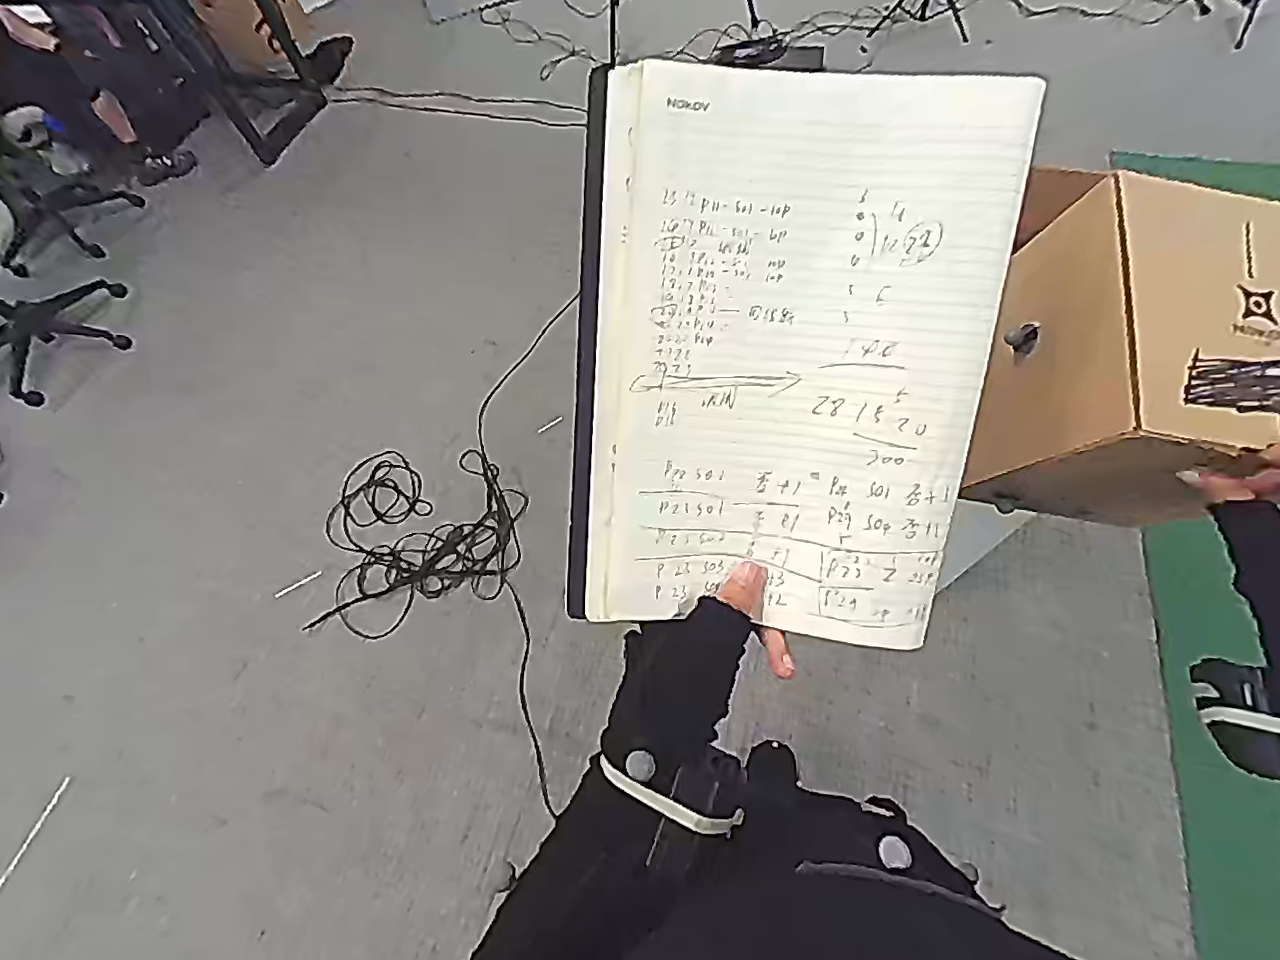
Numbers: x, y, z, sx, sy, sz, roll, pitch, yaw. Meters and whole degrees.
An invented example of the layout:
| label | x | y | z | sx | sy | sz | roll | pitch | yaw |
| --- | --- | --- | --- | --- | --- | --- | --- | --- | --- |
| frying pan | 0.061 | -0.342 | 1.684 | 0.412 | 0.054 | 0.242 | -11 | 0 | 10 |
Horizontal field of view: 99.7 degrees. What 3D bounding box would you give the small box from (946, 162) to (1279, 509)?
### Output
| label | x | y | z | sx | sy | sz | roll | pitch | yaw |
| --- | --- | --- | --- | --- | --- | --- | --- | --- | --- |
| small box | 0.353 | -0.085 | 0.397 | 0.168 | 0.176 | 0.179 | 9 | 75 | -3 |
